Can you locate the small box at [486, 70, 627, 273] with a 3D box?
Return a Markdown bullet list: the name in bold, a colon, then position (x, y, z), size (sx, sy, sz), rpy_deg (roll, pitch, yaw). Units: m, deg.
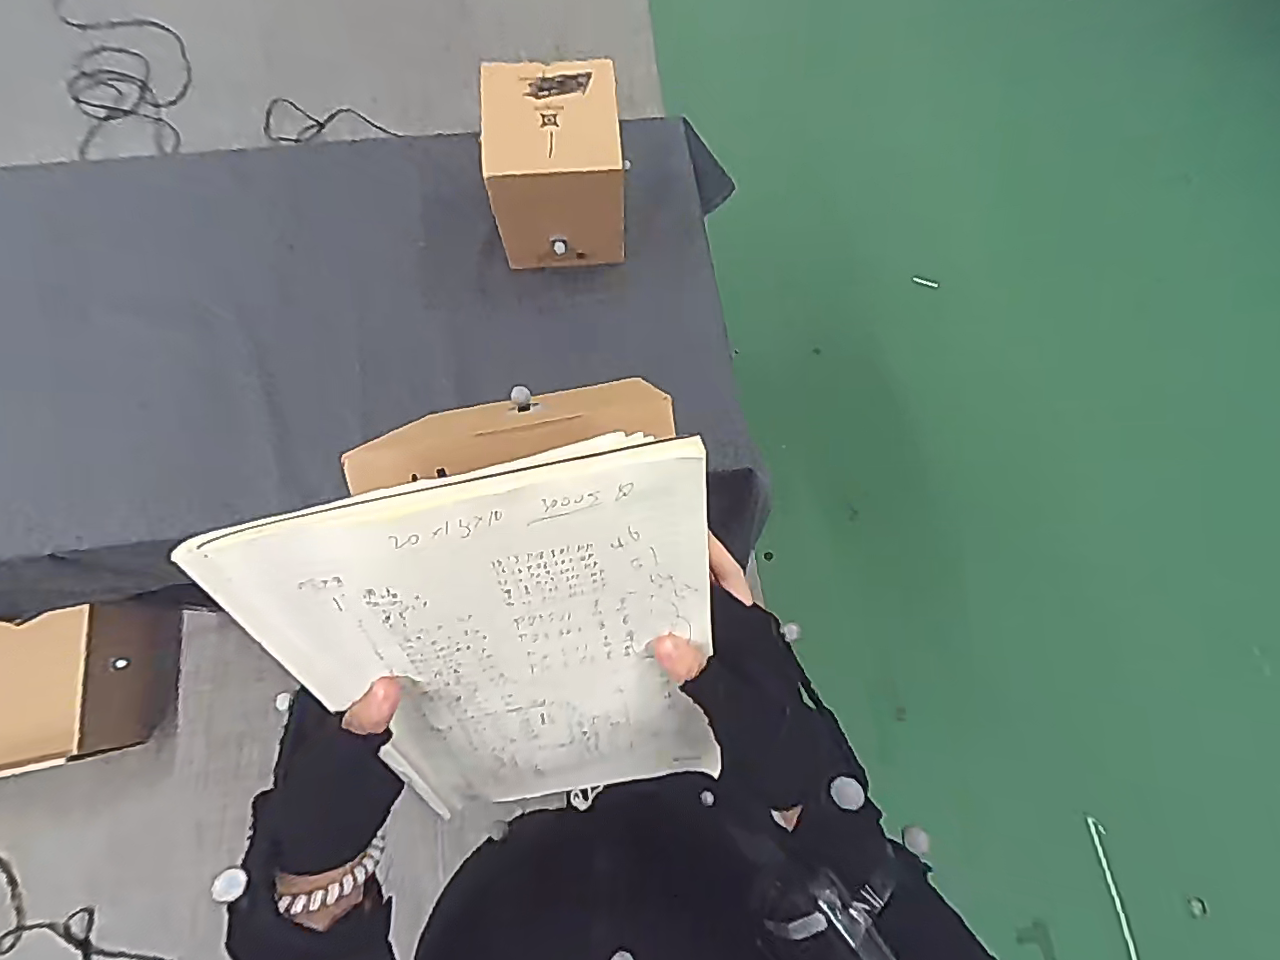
- **small box**: position (-0.106, -0.409, 0.733), size (0.168, 0.176, 0.179), rpy_deg (-4, 74, -2)
